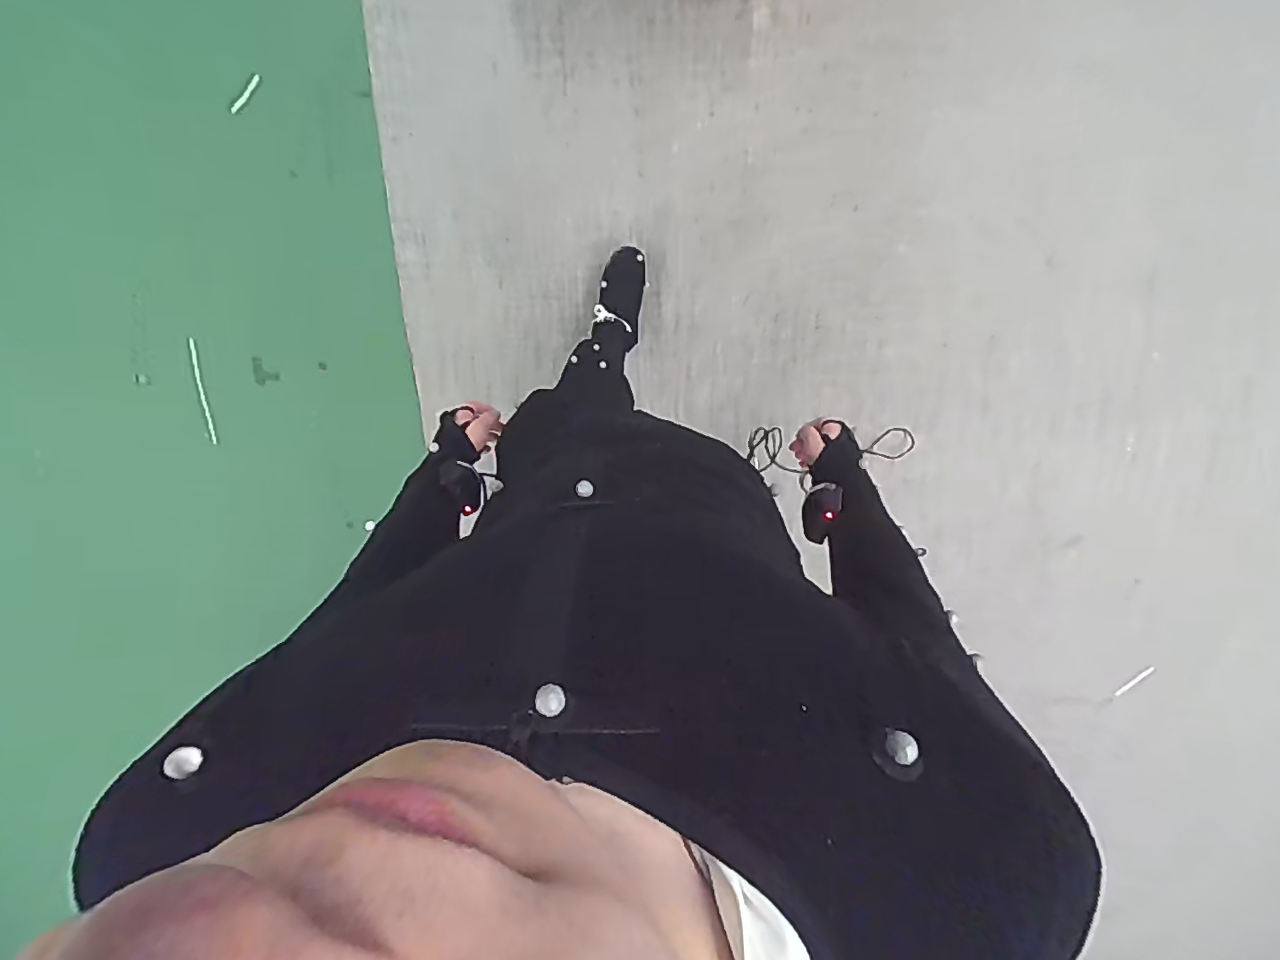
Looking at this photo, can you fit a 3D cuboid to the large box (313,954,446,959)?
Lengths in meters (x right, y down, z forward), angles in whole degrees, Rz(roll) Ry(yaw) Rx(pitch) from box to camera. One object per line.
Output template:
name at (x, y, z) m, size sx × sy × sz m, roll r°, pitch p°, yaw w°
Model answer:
large box at (-0.549, 1.243, 1.055) m, size 0.320 × 0.320 × 0.408 m, roll -1°, pitch 104°, yaw 1°
